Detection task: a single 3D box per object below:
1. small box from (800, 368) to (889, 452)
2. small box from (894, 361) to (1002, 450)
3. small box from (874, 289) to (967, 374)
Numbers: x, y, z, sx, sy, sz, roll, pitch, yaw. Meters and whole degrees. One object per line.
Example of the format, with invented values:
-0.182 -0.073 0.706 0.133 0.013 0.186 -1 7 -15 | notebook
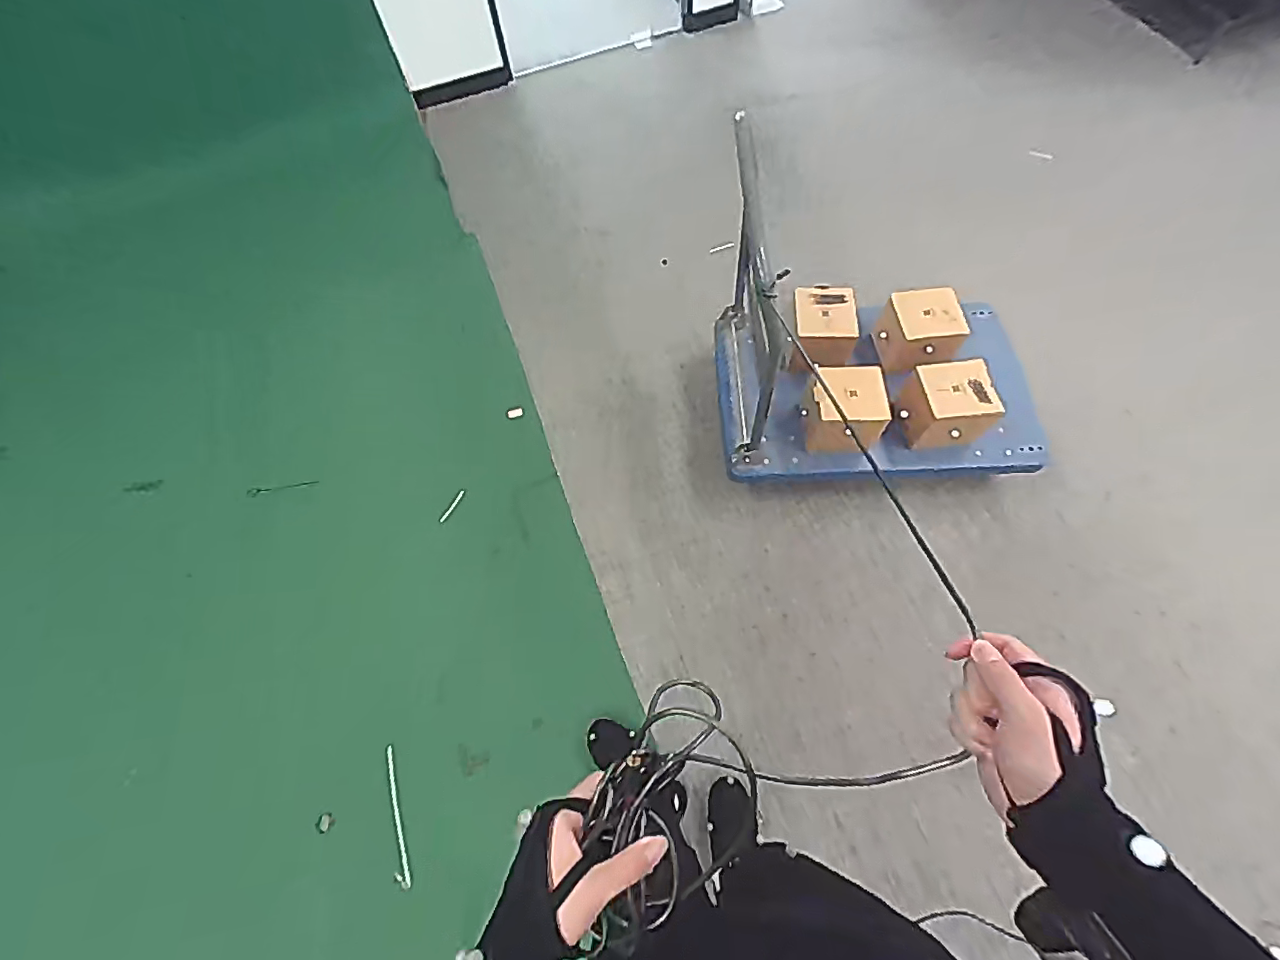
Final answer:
0.544 -0.184 1.462 0.179 0.176 0.168 -1 65 4 | small box
0.814 -0.195 1.447 0.179 0.176 0.168 -6 64 2 | small box
0.793 -0.421 1.555 0.179 0.176 0.168 -5 65 1 | small box
